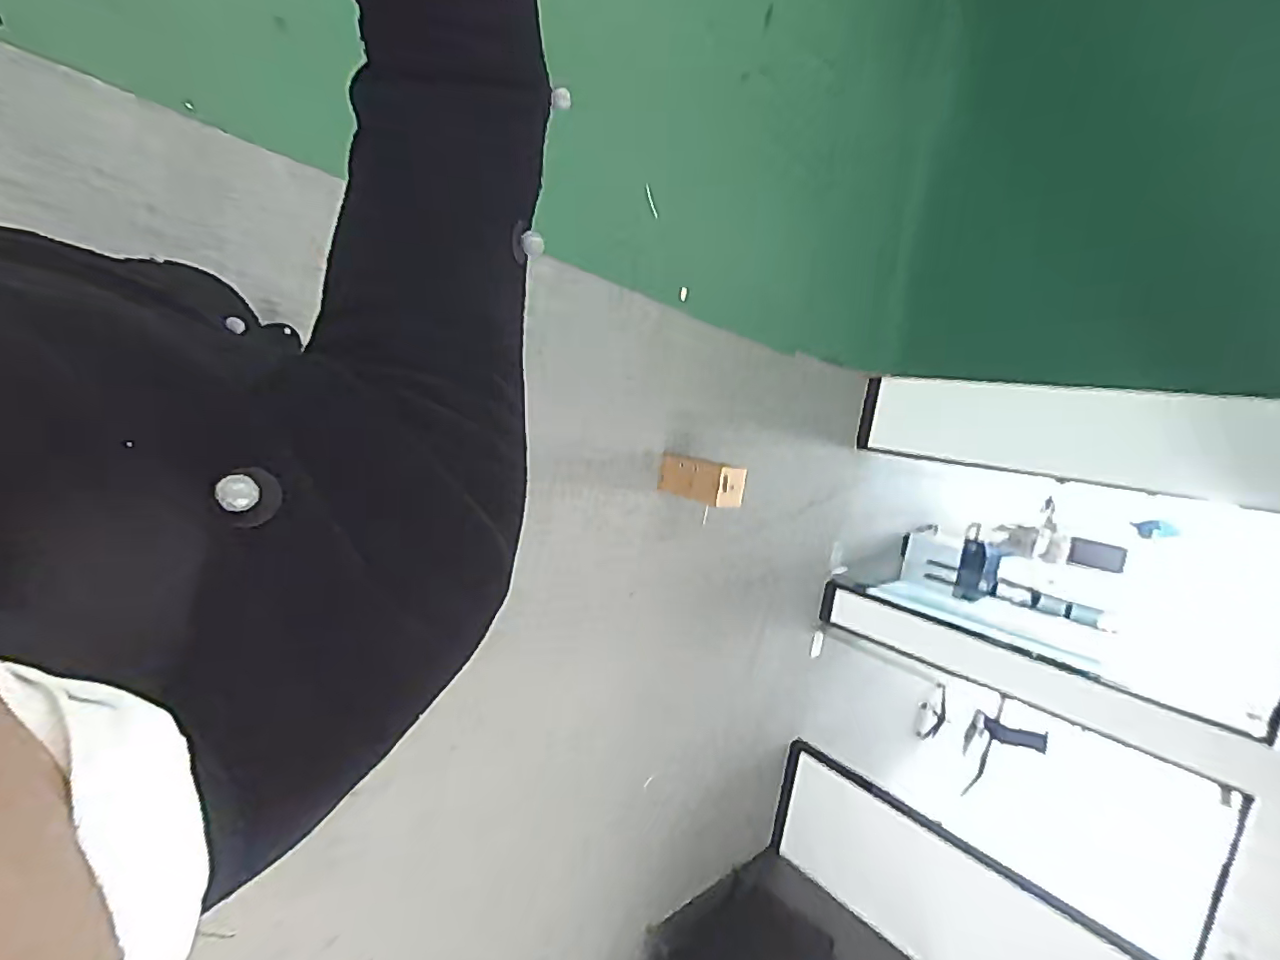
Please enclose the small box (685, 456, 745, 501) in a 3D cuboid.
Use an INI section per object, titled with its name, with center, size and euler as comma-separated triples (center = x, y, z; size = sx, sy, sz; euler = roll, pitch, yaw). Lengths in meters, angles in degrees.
[small box]
center = 0.312, -0.007, 2.267
size = 0.179, 0.176, 0.168
euler = 0, 102, -45
